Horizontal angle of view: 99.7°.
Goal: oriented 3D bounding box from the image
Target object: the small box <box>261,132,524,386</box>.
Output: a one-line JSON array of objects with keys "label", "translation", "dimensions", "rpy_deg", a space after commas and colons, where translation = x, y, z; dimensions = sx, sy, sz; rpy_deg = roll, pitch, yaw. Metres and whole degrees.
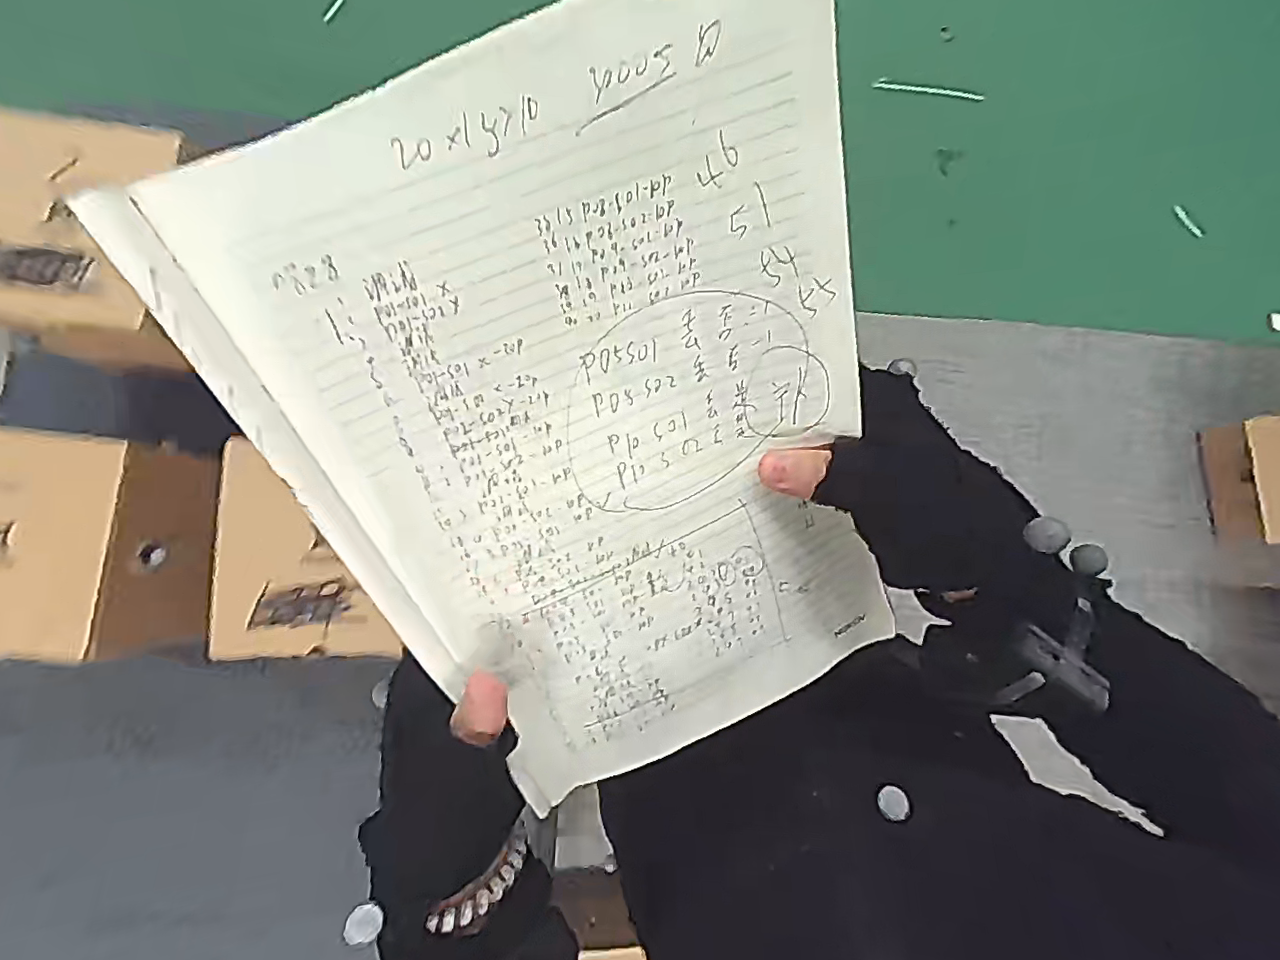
[{"label": "small box", "translation": [-0.224, -0.201, 0.539], "dimensions": [0.179, 0.176, 0.168], "rpy_deg": [7, 83, -4]}]

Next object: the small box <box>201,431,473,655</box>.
[{"label": "small box", "translation": [-0.259, 0.056, 0.506], "dimensions": [0.168, 0.176, 0.179], "rpy_deg": [1, 83, -4]}]
